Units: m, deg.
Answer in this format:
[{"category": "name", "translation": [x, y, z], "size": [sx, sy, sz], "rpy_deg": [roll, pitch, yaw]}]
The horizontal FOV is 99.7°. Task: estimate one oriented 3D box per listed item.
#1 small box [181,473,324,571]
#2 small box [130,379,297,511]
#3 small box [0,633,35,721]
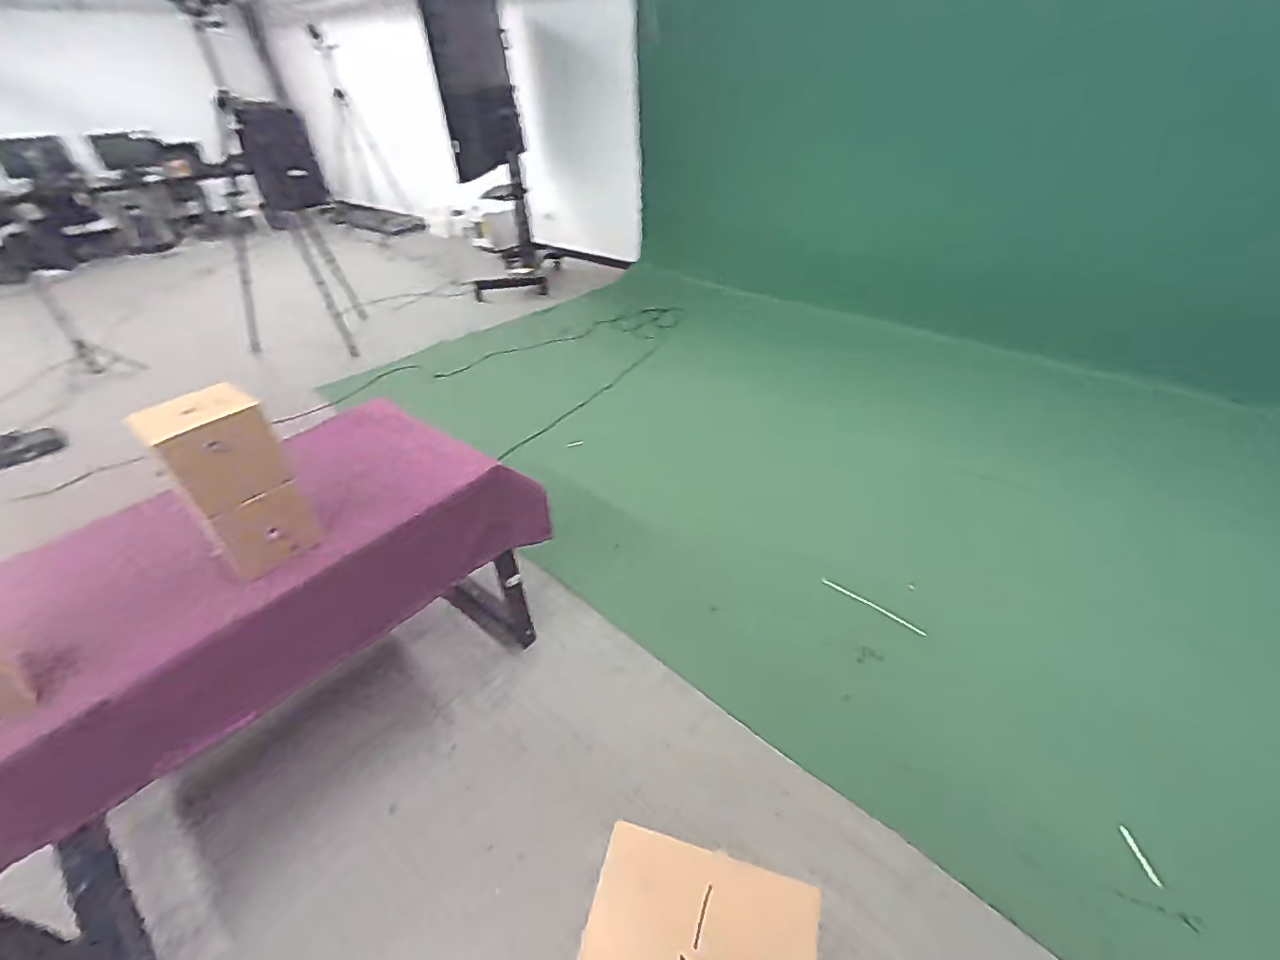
[{"category": "small box", "translation": [-0.807, 0.065, 1.139], "size": [0.179, 0.176, 0.168], "rpy_deg": [26, 45, 31]}, {"category": "small box", "translation": [-0.810, -0.067, 1.040], "size": [0.168, 0.176, 0.179], "rpy_deg": [25, 45, 31]}, {"category": "small box", "translation": [-1.106, 0.307, 0.835], "size": [0.179, 0.176, 0.168], "rpy_deg": [24, 43, 31]}]
